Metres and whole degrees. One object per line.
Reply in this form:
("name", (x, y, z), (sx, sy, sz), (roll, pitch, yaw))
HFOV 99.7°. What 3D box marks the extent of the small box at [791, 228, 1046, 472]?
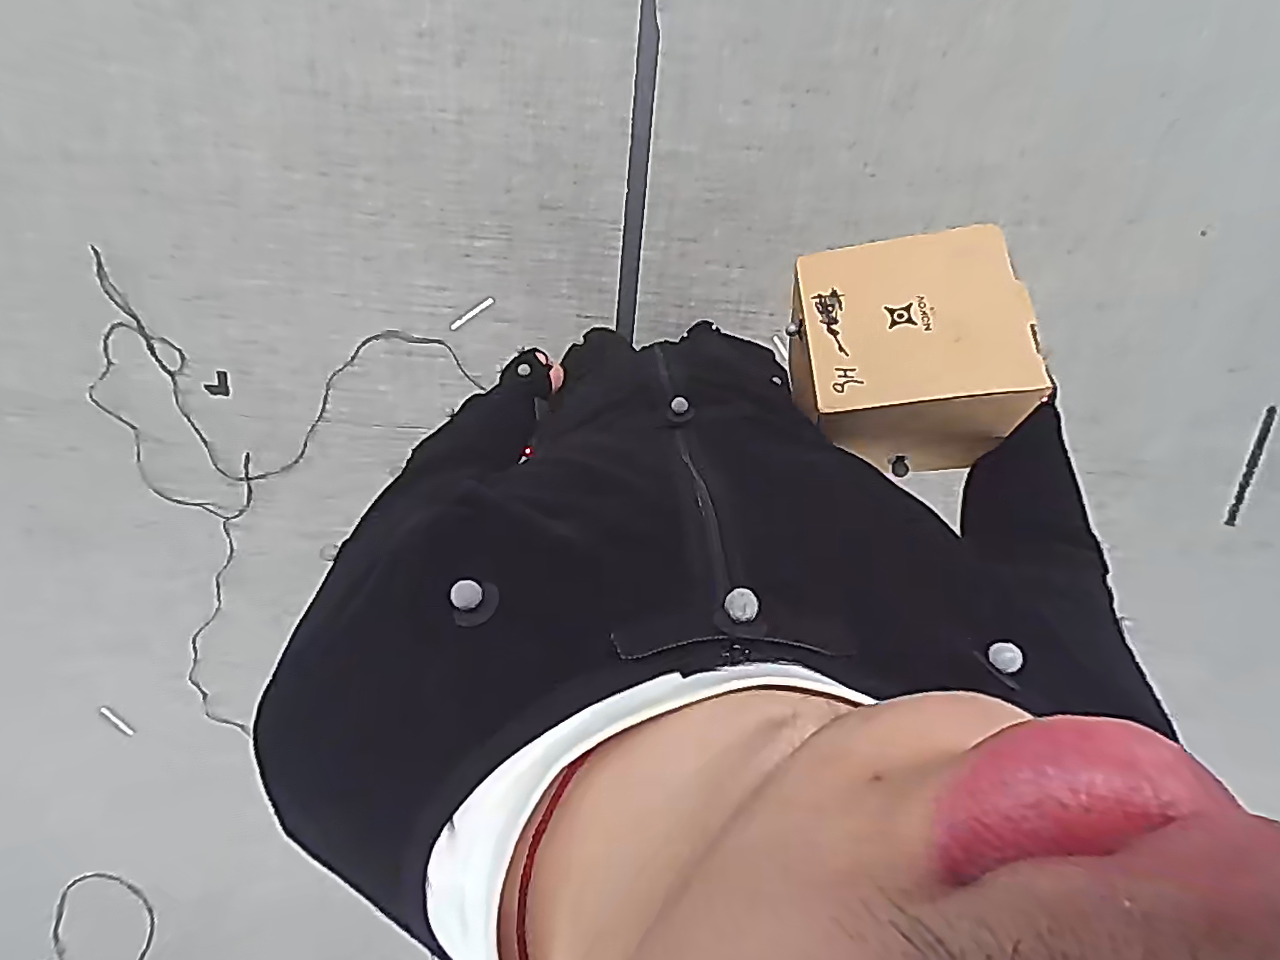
("small box", (0.255, -0.117, 0.547), (0.179, 0.176, 0.168), (-5, 68, 11))
